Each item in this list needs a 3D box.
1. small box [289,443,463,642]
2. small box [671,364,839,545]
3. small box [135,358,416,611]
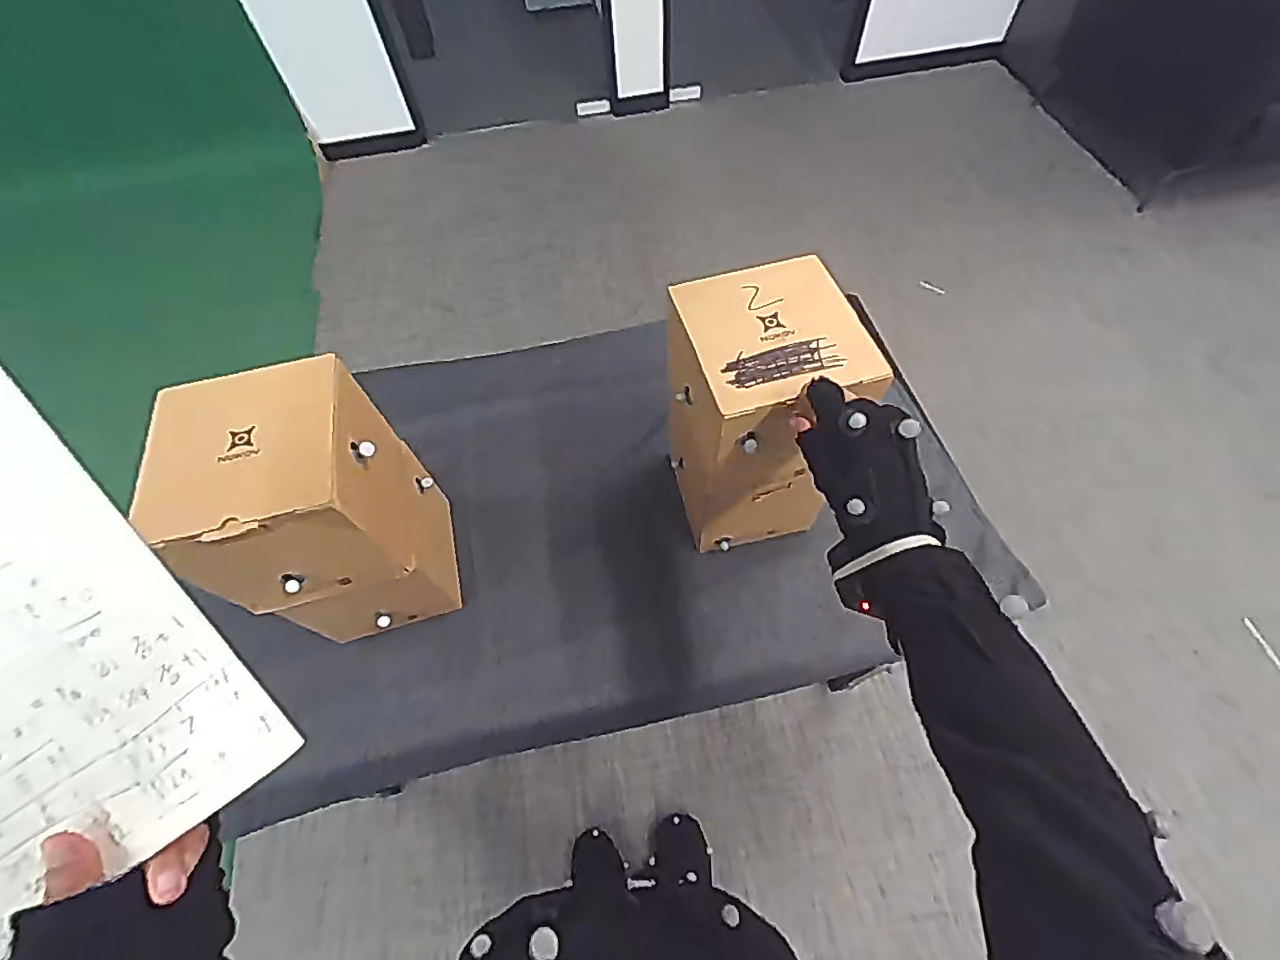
[{"bbox_3d":[-0.340,0.084,0.693,0.168,0.176,0.179,-16,60,-6],"label":"small box"},{"bbox_3d":[0.142,-0.025,0.737,0.168,0.176,0.179,-12,59,-4],"label":"small box"},{"bbox_3d":[-0.343,0.010,0.549,0.168,0.176,0.179,-14,60,-6],"label":"small box"}]
